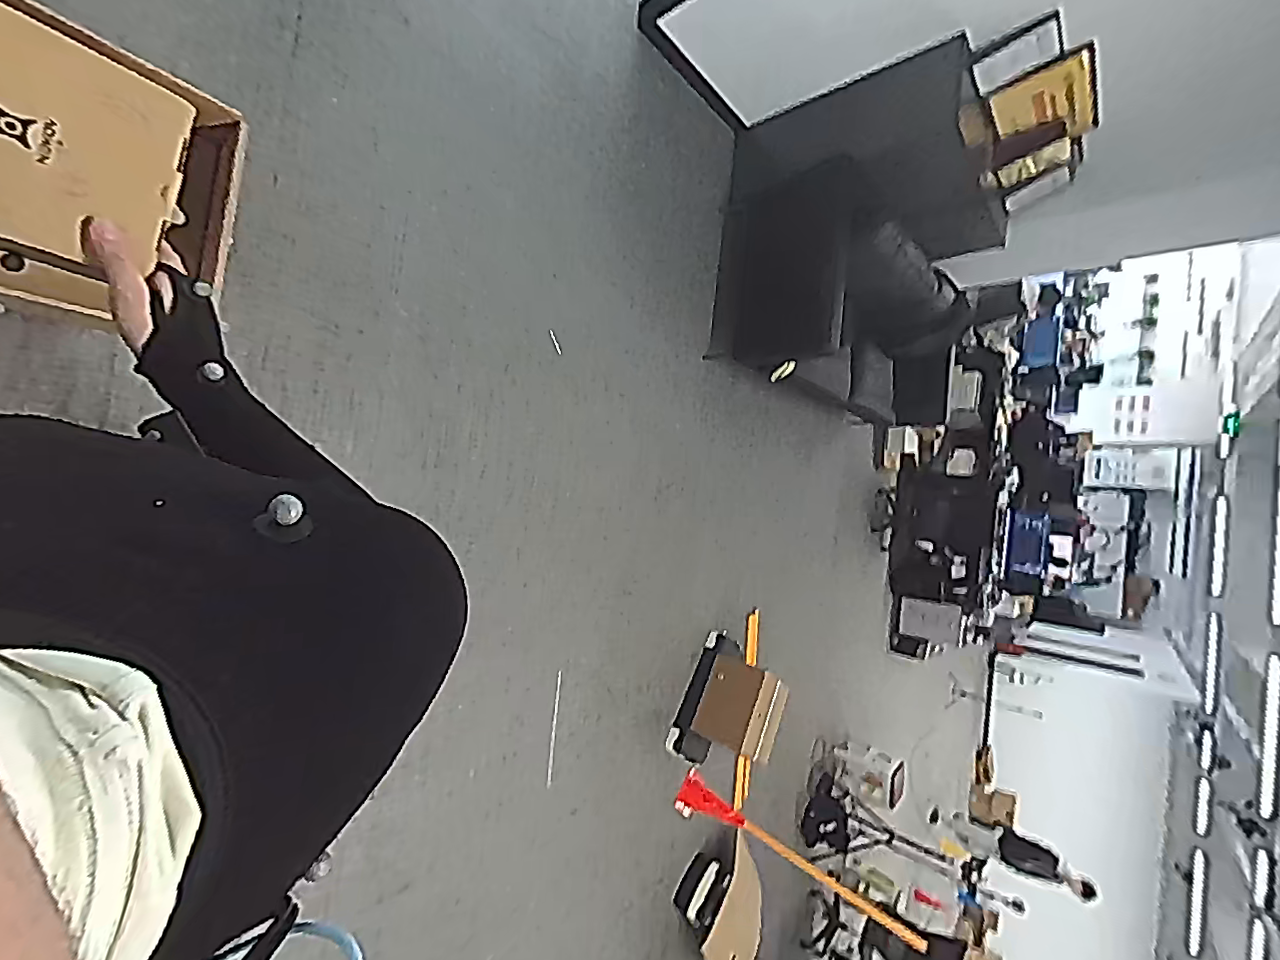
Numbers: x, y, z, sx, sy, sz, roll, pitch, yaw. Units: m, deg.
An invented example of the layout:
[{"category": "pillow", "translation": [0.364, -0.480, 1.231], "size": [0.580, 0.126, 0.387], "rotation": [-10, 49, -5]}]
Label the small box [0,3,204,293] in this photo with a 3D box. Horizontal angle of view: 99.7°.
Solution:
[{"category": "small box", "translation": [-0.521, -0.276, 0.468], "size": [0.179, 0.176, 0.168], "rotation": [14, 91, -49]}]
